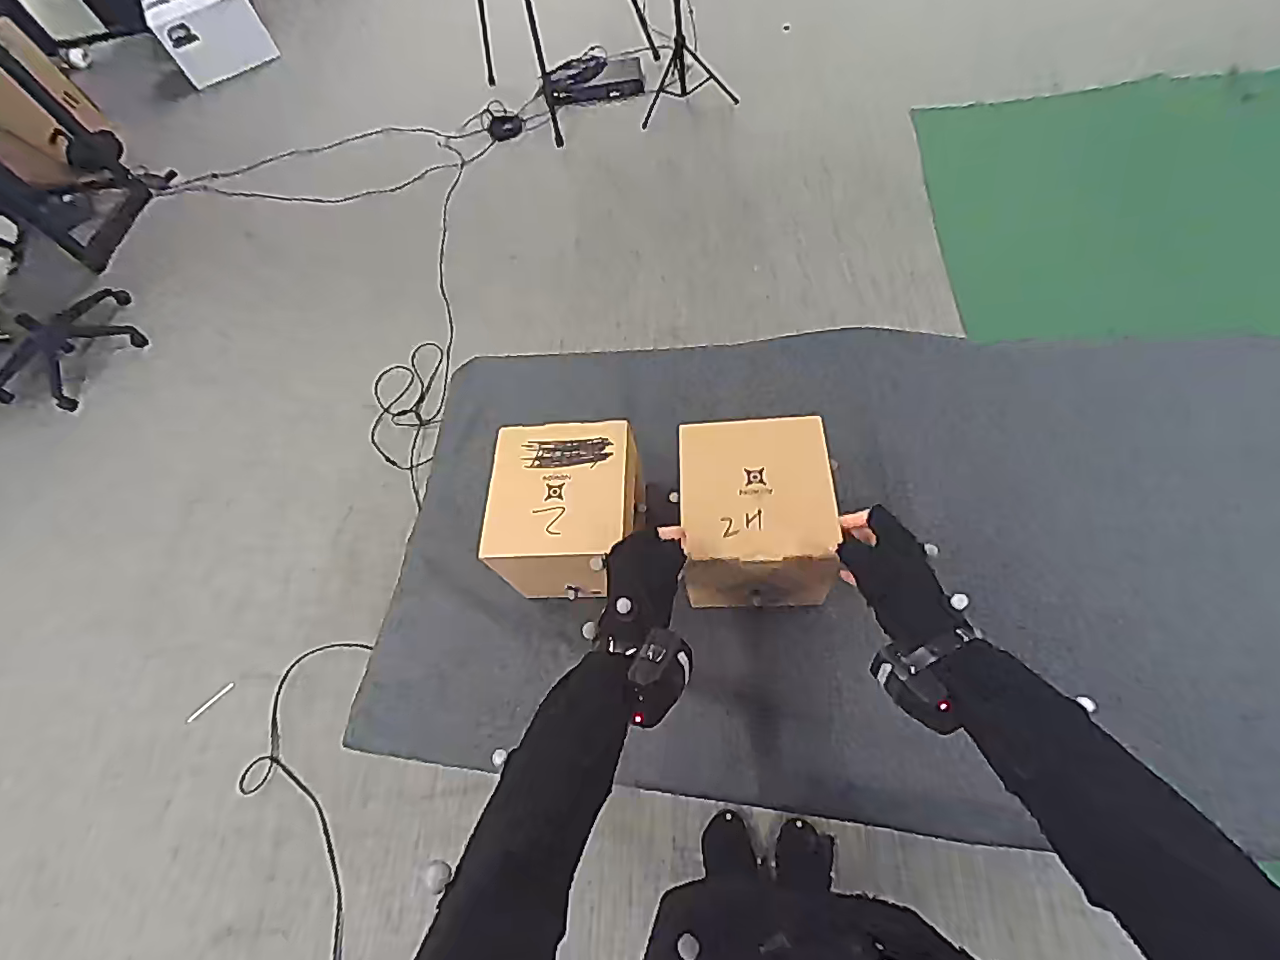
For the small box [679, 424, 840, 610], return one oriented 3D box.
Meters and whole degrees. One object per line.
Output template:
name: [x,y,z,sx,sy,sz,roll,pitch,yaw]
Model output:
small box: [0.136,0.051,0.663,0.168,0.176,0.179,-3,62,9]
